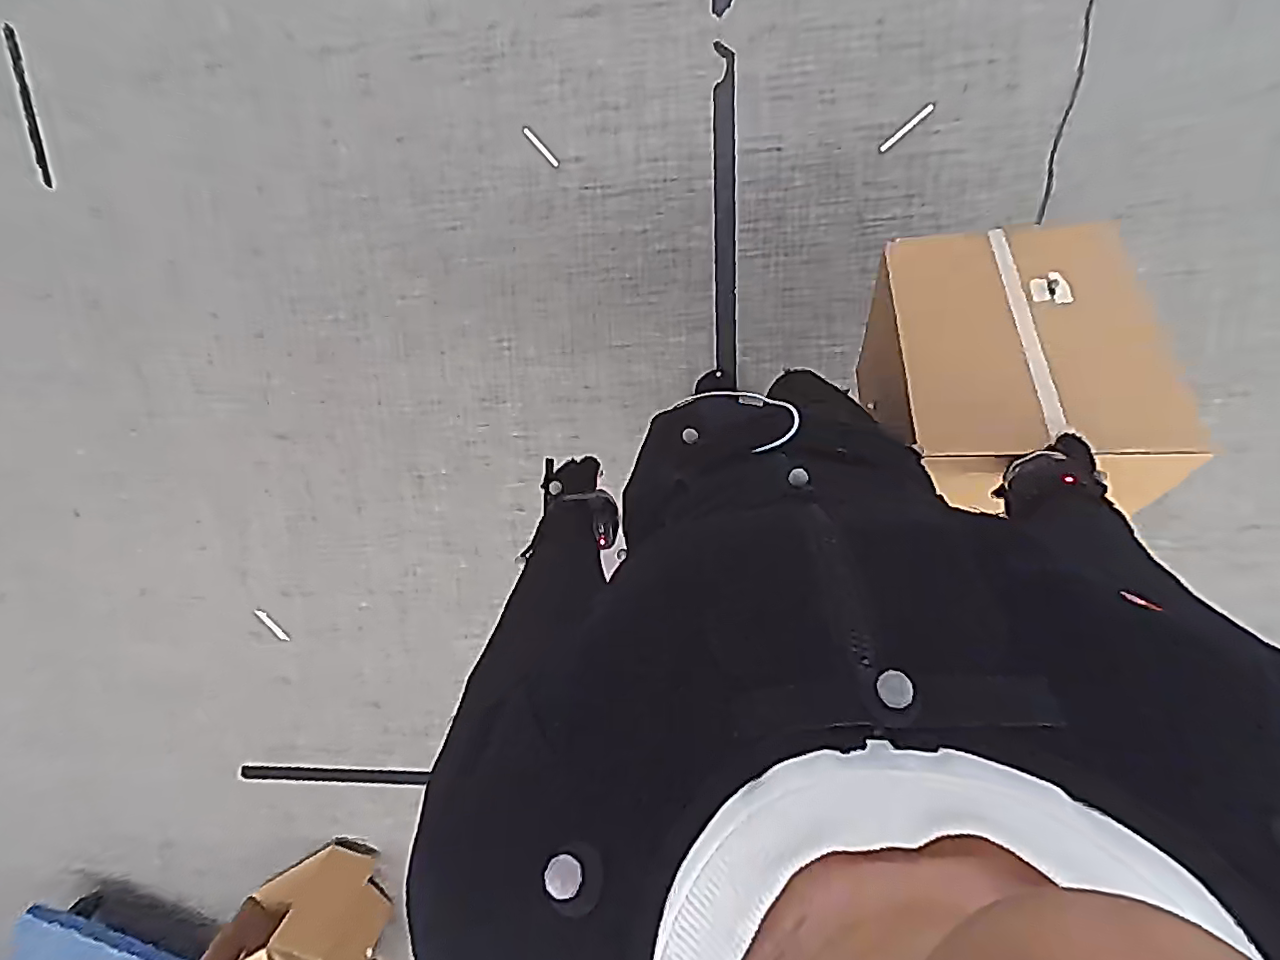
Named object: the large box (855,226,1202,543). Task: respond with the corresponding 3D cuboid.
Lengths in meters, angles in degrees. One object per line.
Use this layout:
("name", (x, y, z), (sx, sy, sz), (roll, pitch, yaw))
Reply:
("large box", (0.550, -0.136, 0.878), (0.320, 0.320, 0.408), (0, 61, 11))
